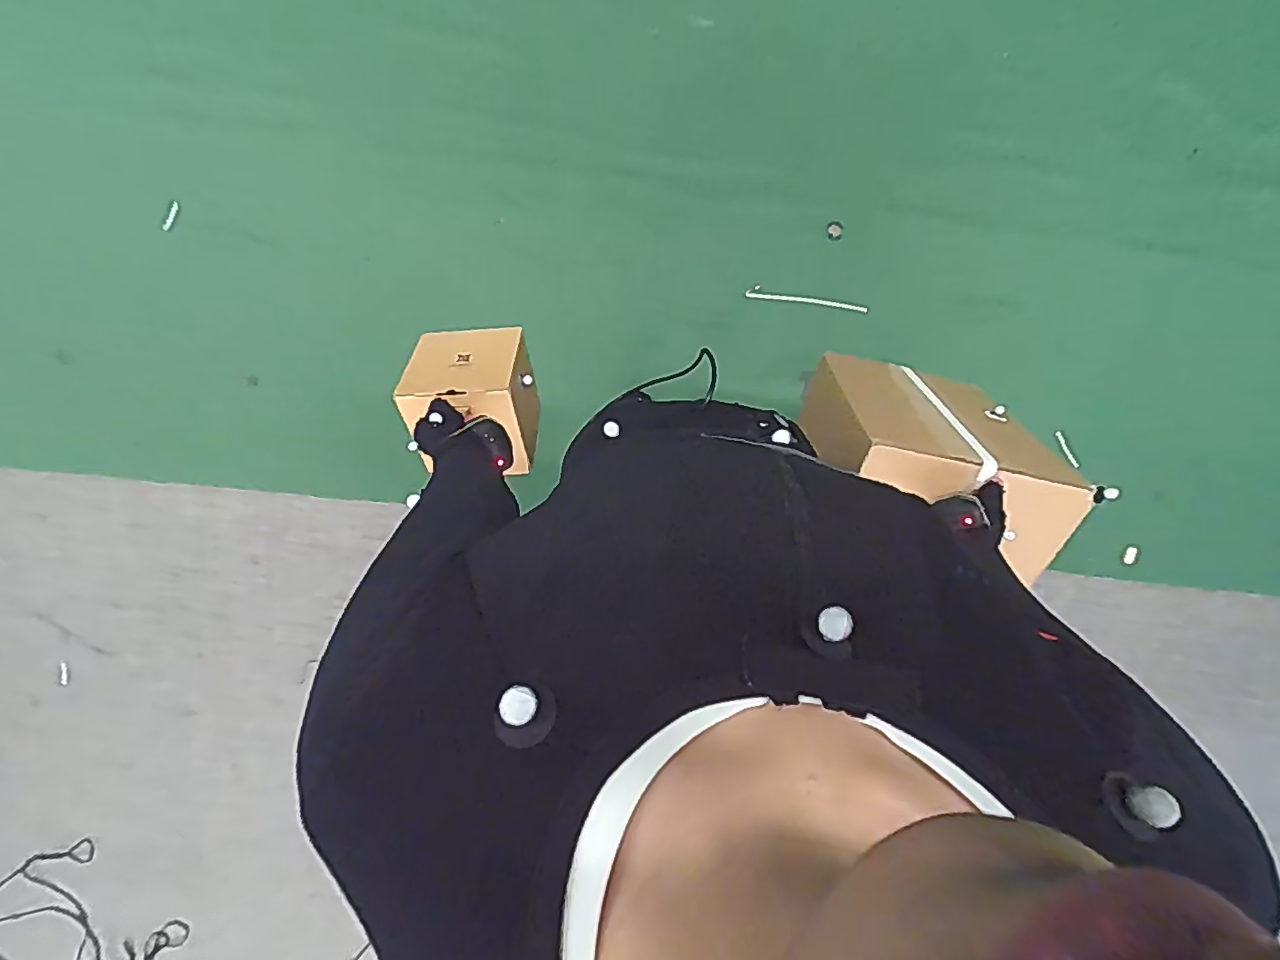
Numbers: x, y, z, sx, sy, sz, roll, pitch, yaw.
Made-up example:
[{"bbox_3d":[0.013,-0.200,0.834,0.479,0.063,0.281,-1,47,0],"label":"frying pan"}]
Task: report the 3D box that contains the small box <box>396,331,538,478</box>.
[{"bbox_3d":[-0.267,-0.123,0.885,0.168,0.179,0.176,-3,136,1],"label":"small box"}]
